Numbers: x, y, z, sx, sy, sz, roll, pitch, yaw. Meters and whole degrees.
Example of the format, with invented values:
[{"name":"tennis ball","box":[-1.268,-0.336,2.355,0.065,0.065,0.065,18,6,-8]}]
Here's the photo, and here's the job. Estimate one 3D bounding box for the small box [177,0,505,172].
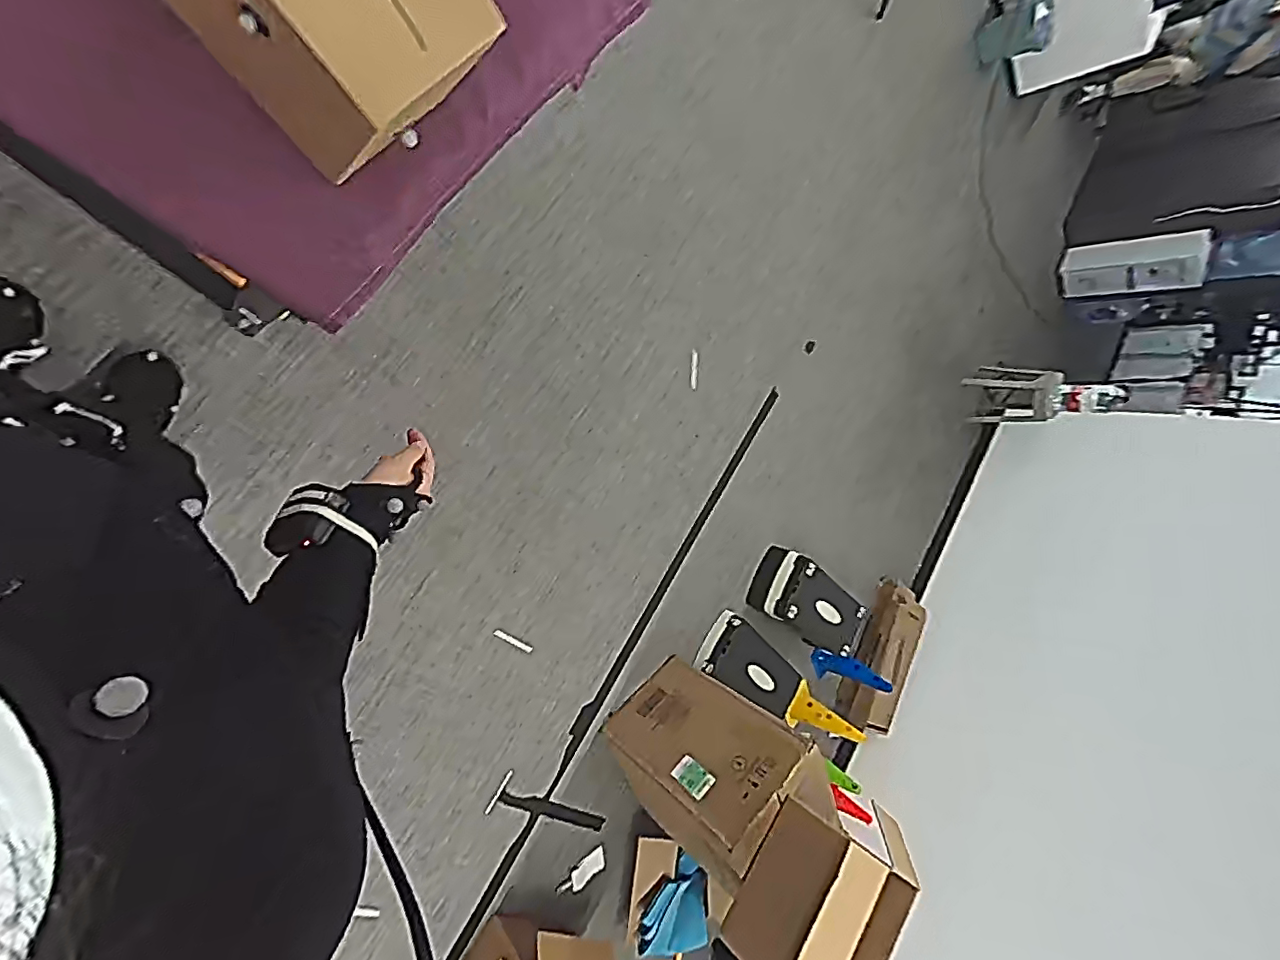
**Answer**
[{"name":"small box","box":[-0.260,-0.408,0.464,0.168,0.176,0.179,-54,128,-19]}]
